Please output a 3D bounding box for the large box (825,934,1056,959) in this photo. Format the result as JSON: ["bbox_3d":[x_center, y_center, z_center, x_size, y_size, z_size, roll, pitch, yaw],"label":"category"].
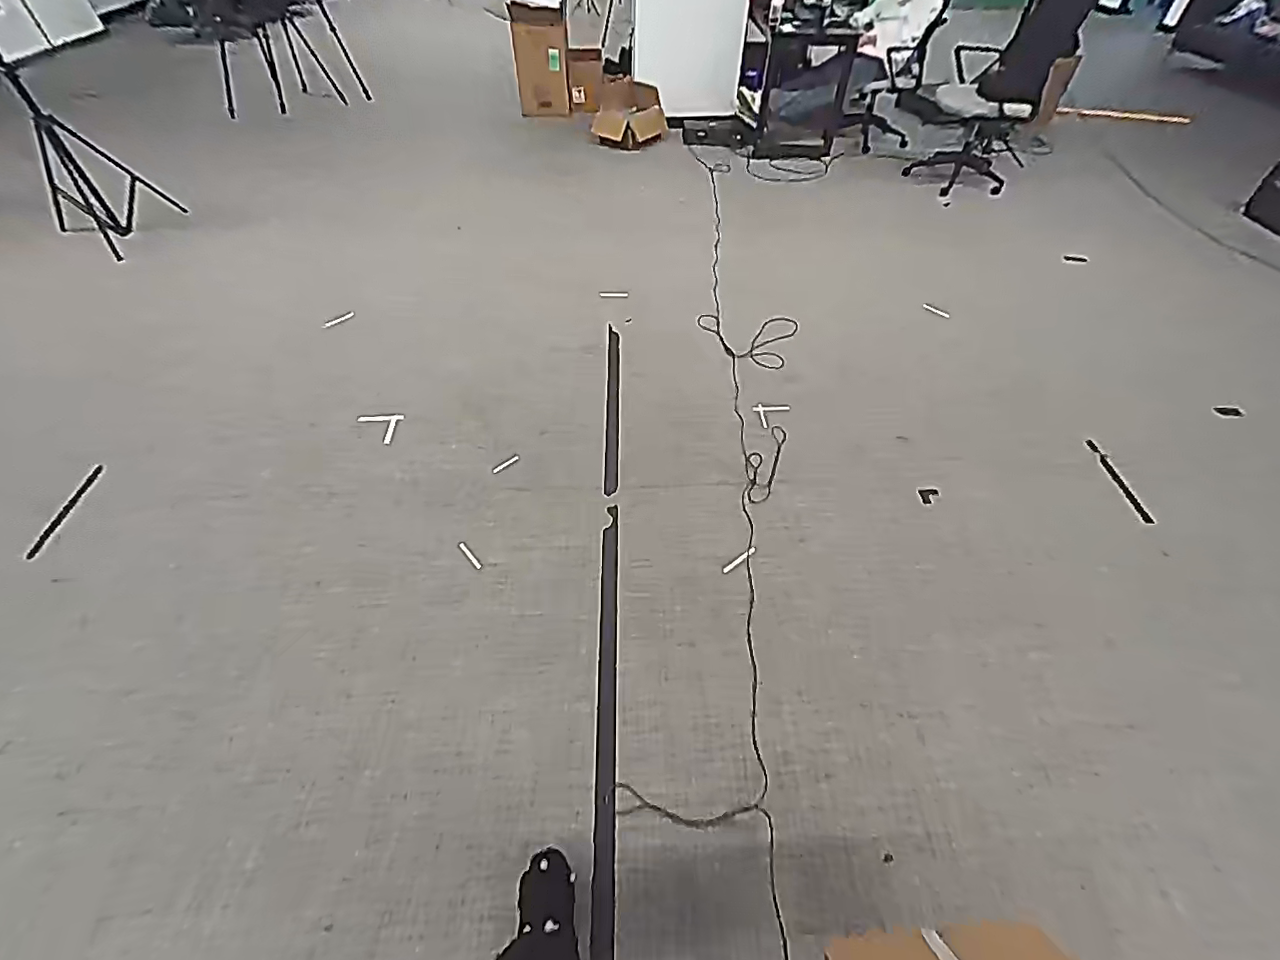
[{"bbox_3d":[0.434,0.791,0.580,0.320,0.408,0.320,-8,77,1],"label":"large box"}]
